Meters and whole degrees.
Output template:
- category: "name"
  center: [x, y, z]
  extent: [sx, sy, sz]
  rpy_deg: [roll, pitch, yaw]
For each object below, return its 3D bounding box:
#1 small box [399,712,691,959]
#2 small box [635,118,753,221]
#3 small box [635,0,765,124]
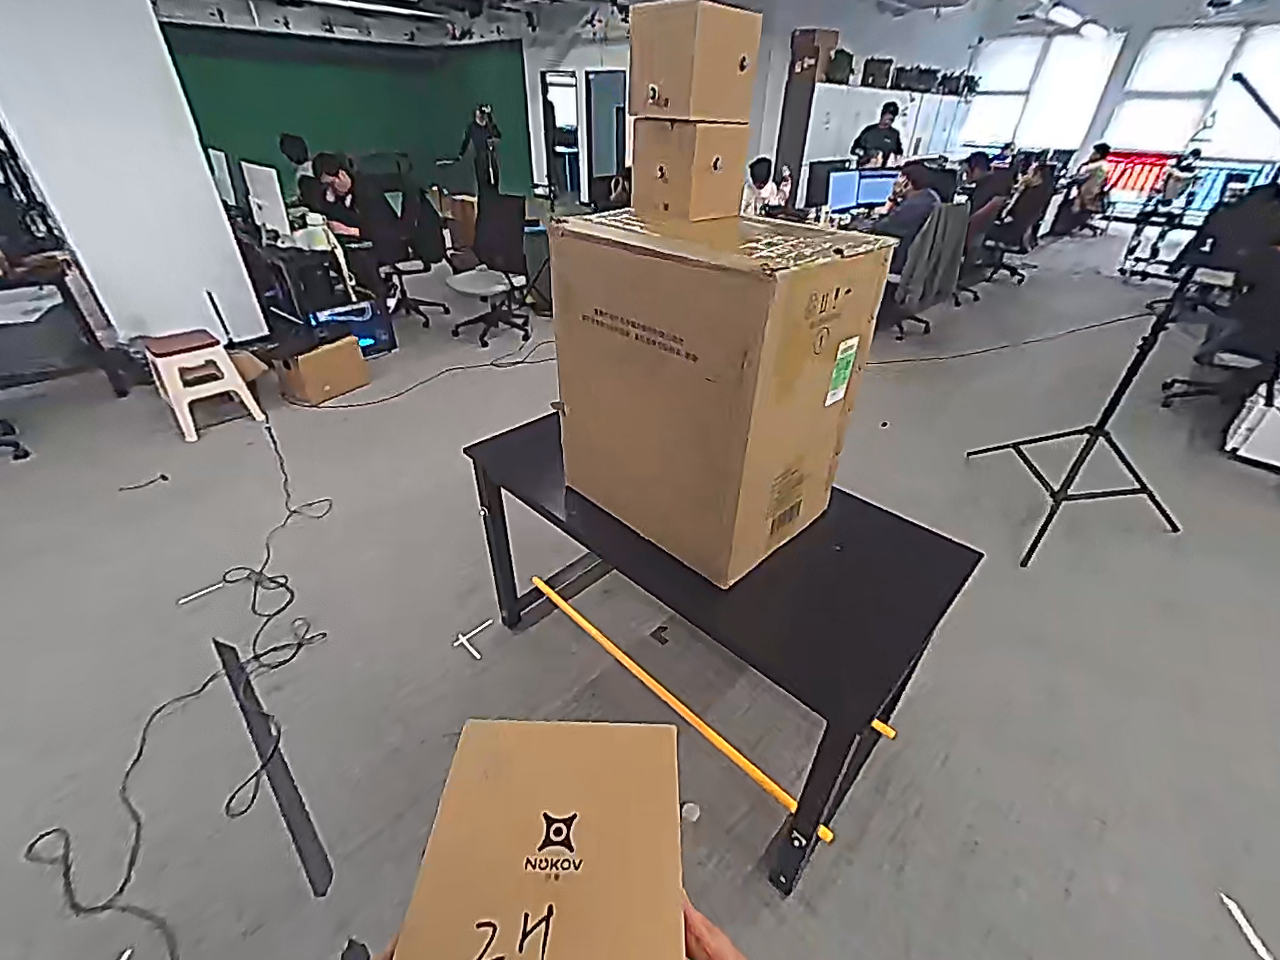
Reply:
- category: "small box"
  center: [-0.053, 0.300, 0.397]
  extent: [0.168, 0.176, 0.179]
  rpy_deg: [1, 35, 1]
- category: "small box"
  center: [0.106, -0.635, 1.103]
  extent: [0.168, 0.176, 0.179]
  rpy_deg: [31, 44, 34]
- category: "small box"
  center: [0.102, -0.763, 0.999]
  extent: [0.179, 0.176, 0.168]
  rpy_deg: [-27, 43, -35]
